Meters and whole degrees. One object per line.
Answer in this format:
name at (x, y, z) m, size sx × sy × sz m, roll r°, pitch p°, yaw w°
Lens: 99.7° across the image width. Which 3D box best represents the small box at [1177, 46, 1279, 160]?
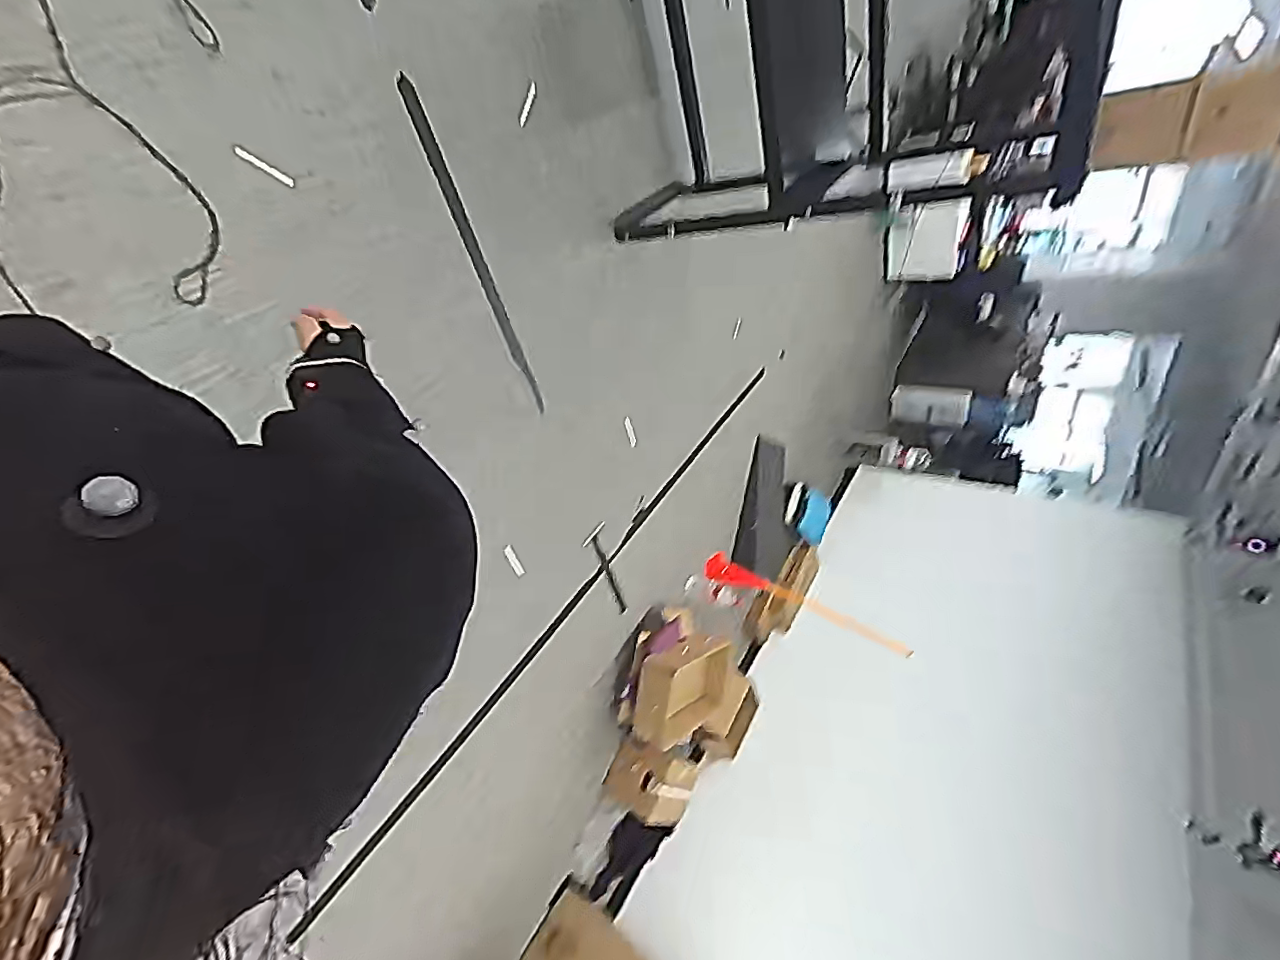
small box at (1.291, -0.811, 1.160) m, size 0.179 × 0.176 × 0.168 m, roll -48°, pitch 134°, yaw -34°
